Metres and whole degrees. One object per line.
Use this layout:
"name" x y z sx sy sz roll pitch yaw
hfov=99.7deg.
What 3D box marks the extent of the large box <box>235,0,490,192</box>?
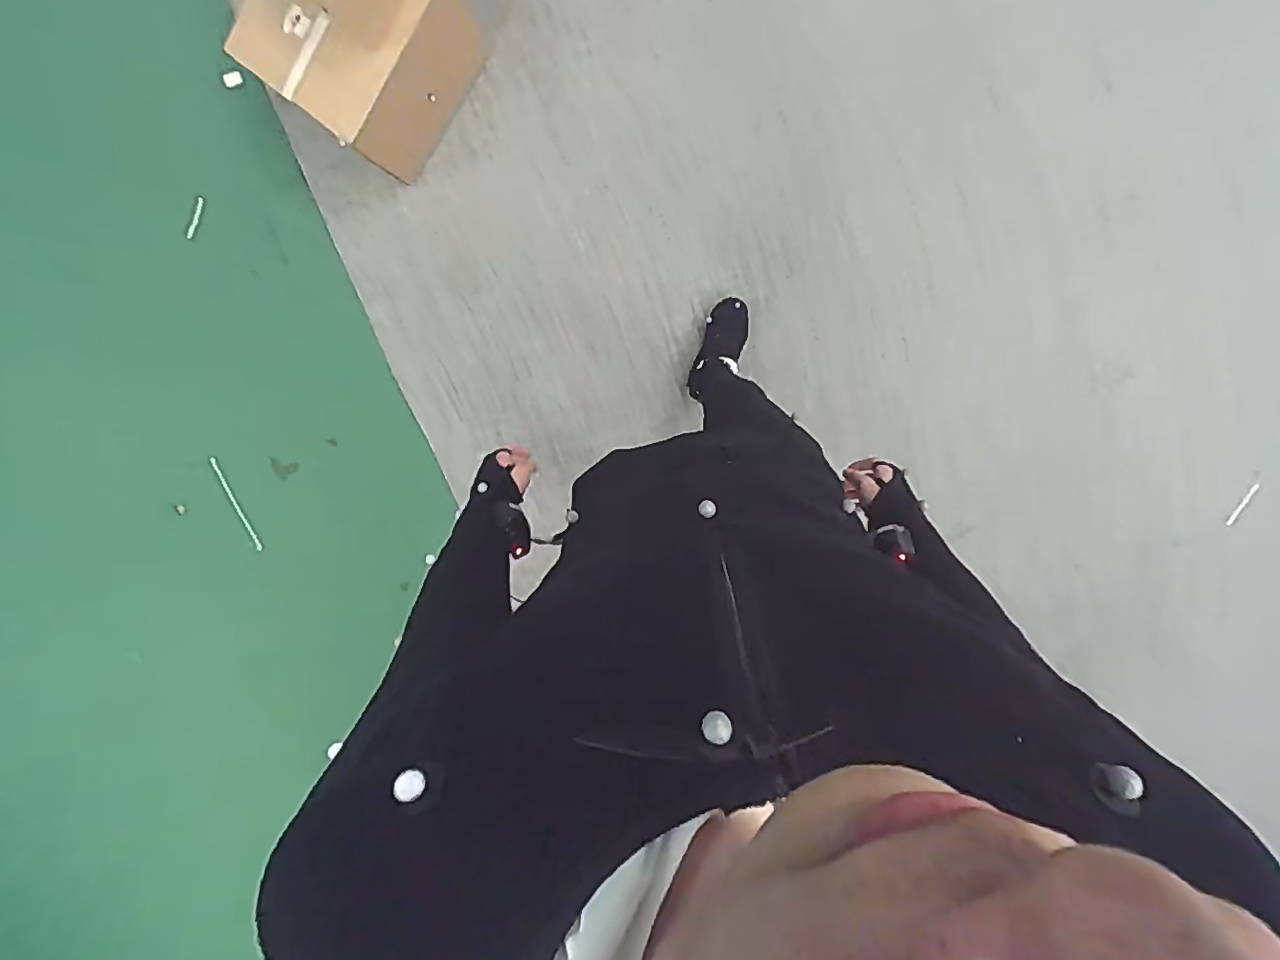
"large box" -0.618 -0.984 1.265 0.320 0.320 0.408 37 102 -5
